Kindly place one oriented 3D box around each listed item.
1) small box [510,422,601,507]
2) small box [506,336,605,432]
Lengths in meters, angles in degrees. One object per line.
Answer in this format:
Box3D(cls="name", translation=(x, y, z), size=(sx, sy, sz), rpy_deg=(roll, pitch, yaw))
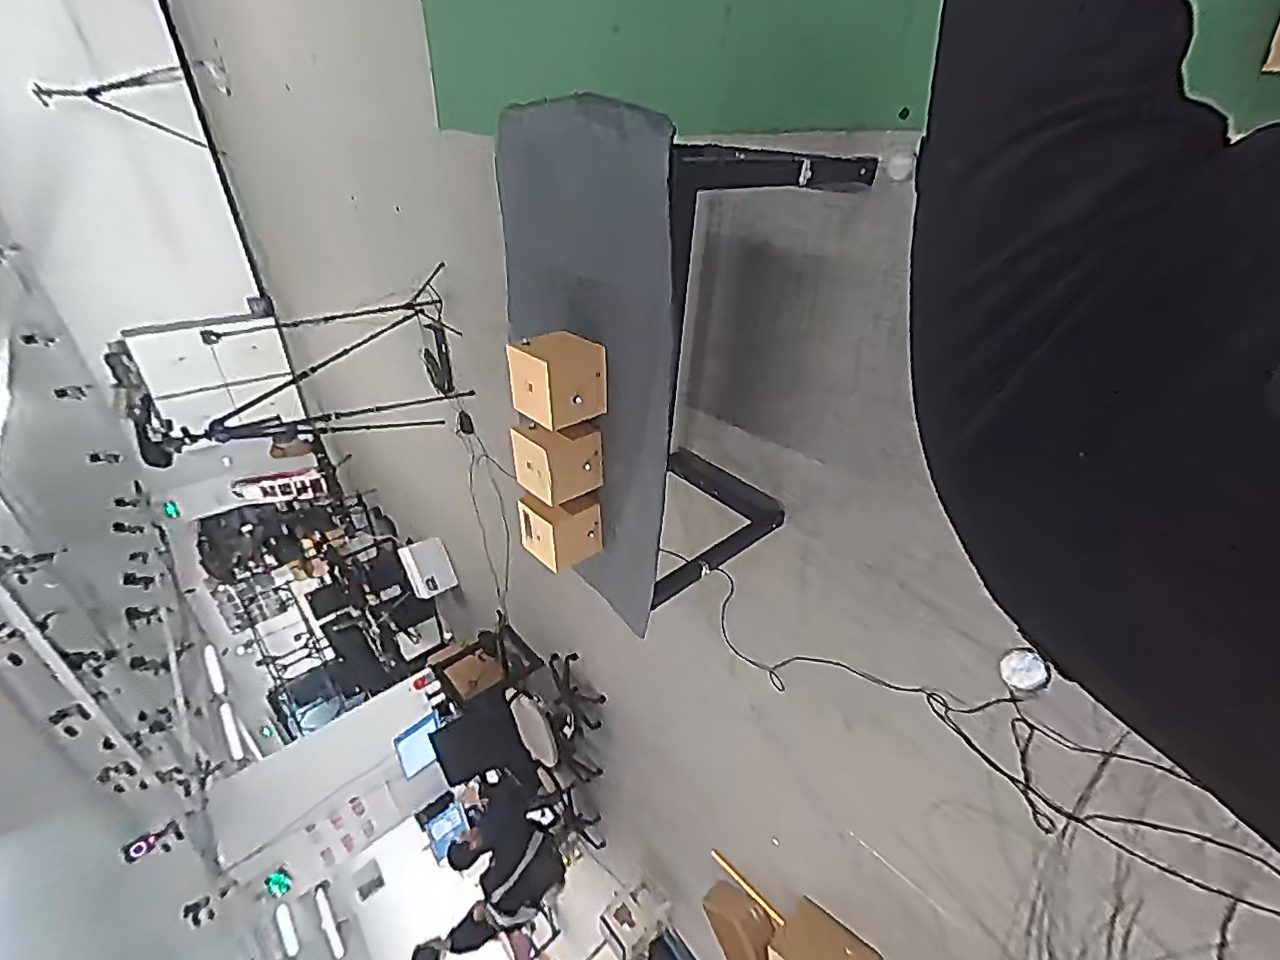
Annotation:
Box3D(cls="small box", translation=(-0.219, -0.058, 1.428), size=(0.179, 0.176, 0.168), rpy_deg=(29, 131, 40))
Box3D(cls="small box", translation=(-0.196, -0.239, 1.298), size=(0.179, 0.176, 0.168), rpy_deg=(31, 132, 40))
